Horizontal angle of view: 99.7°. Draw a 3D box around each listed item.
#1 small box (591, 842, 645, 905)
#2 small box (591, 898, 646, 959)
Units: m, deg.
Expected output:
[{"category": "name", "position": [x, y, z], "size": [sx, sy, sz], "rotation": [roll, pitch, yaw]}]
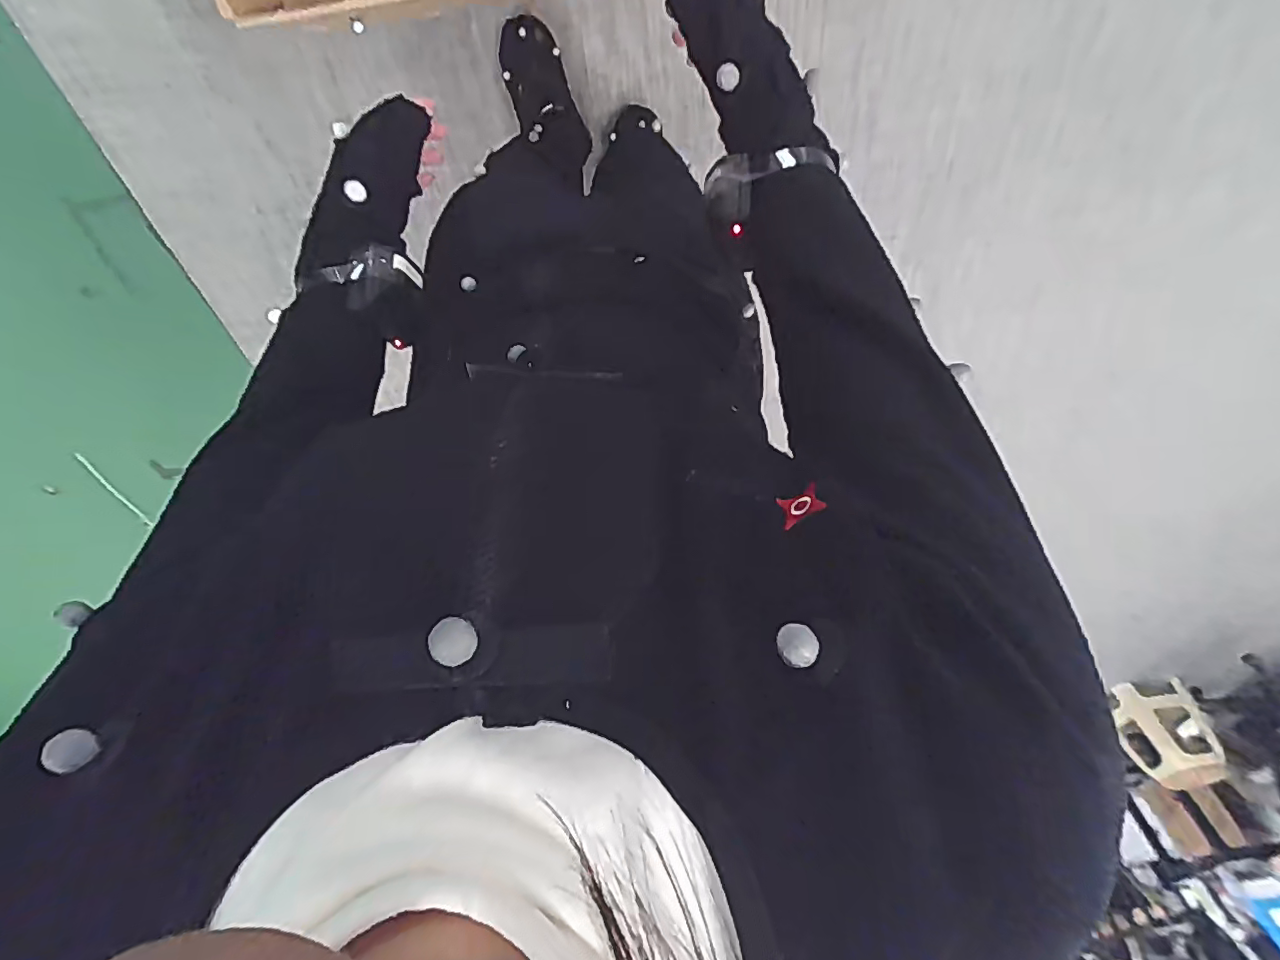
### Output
[{"category": "small box", "position": [-0.079, 1.448, 1.980], "size": [0.168, 0.176, 0.179], "rotation": [-10, 133, 4]}, {"category": "small box", "position": [-0.070, 1.563, 1.862], "size": [0.168, 0.176, 0.179], "rotation": [-8, 132, 4]}]
